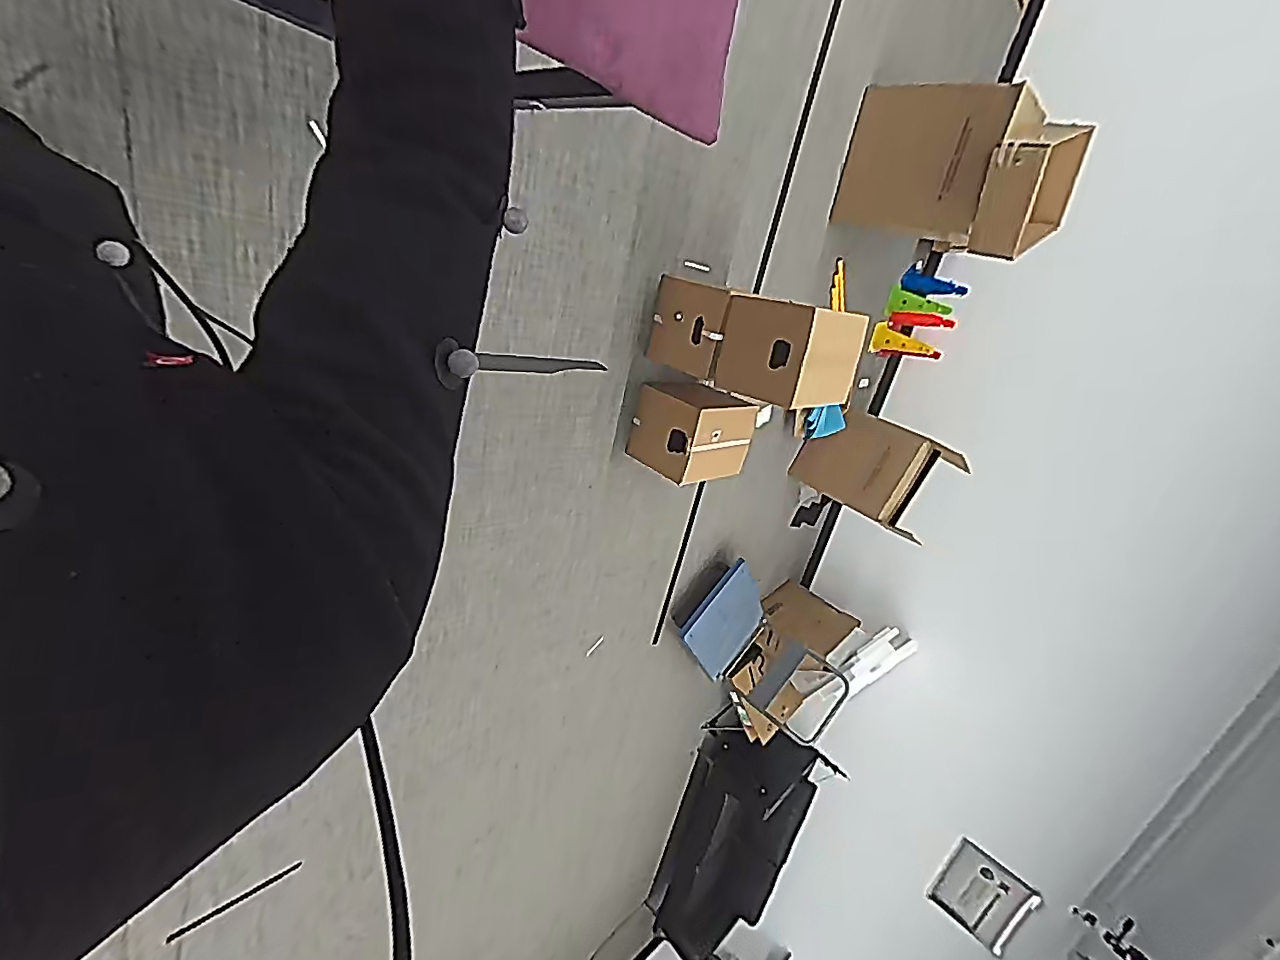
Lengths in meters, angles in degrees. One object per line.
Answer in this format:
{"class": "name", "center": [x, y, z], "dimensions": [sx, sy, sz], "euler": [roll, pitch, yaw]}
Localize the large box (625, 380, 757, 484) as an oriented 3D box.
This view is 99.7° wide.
{"class": "large box", "center": [0.205, -0.212, 2.213], "dimensions": [0.408, 0.320, 0.320], "euler": [-11, 122, -45]}
